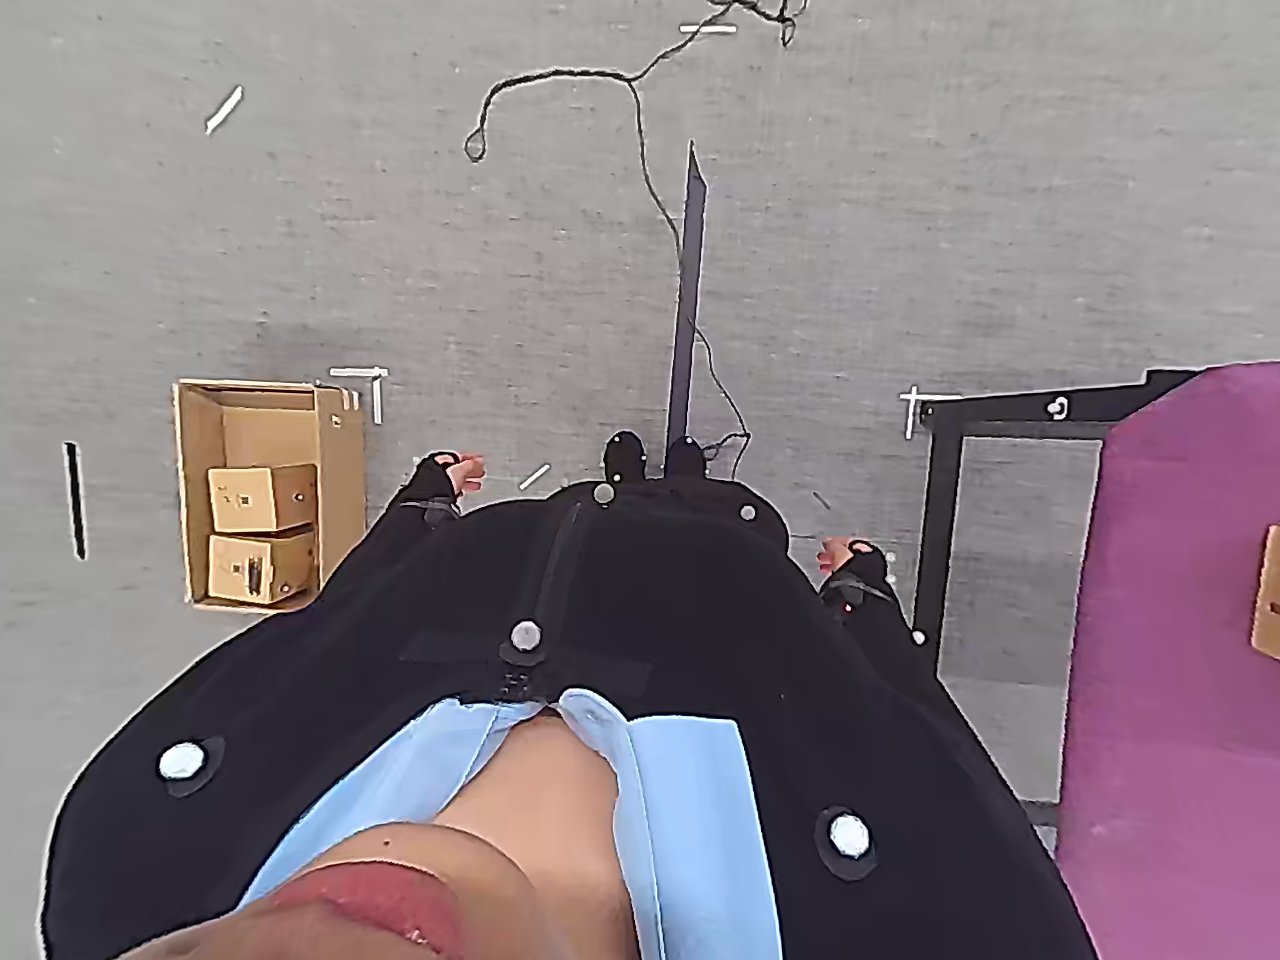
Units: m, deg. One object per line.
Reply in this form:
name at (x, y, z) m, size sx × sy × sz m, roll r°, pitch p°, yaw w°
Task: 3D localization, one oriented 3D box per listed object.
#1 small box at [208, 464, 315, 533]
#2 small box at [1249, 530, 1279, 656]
small box at (-1.013, 0.046, 1.465) m, size 0.179 × 0.176 × 0.168 m, roll -1°, pitch 96°, yaw 5°
small box at (0.869, 0.146, 0.603) m, size 0.179 × 0.176 × 0.168 m, roll 0°, pitch 98°, yaw 6°
